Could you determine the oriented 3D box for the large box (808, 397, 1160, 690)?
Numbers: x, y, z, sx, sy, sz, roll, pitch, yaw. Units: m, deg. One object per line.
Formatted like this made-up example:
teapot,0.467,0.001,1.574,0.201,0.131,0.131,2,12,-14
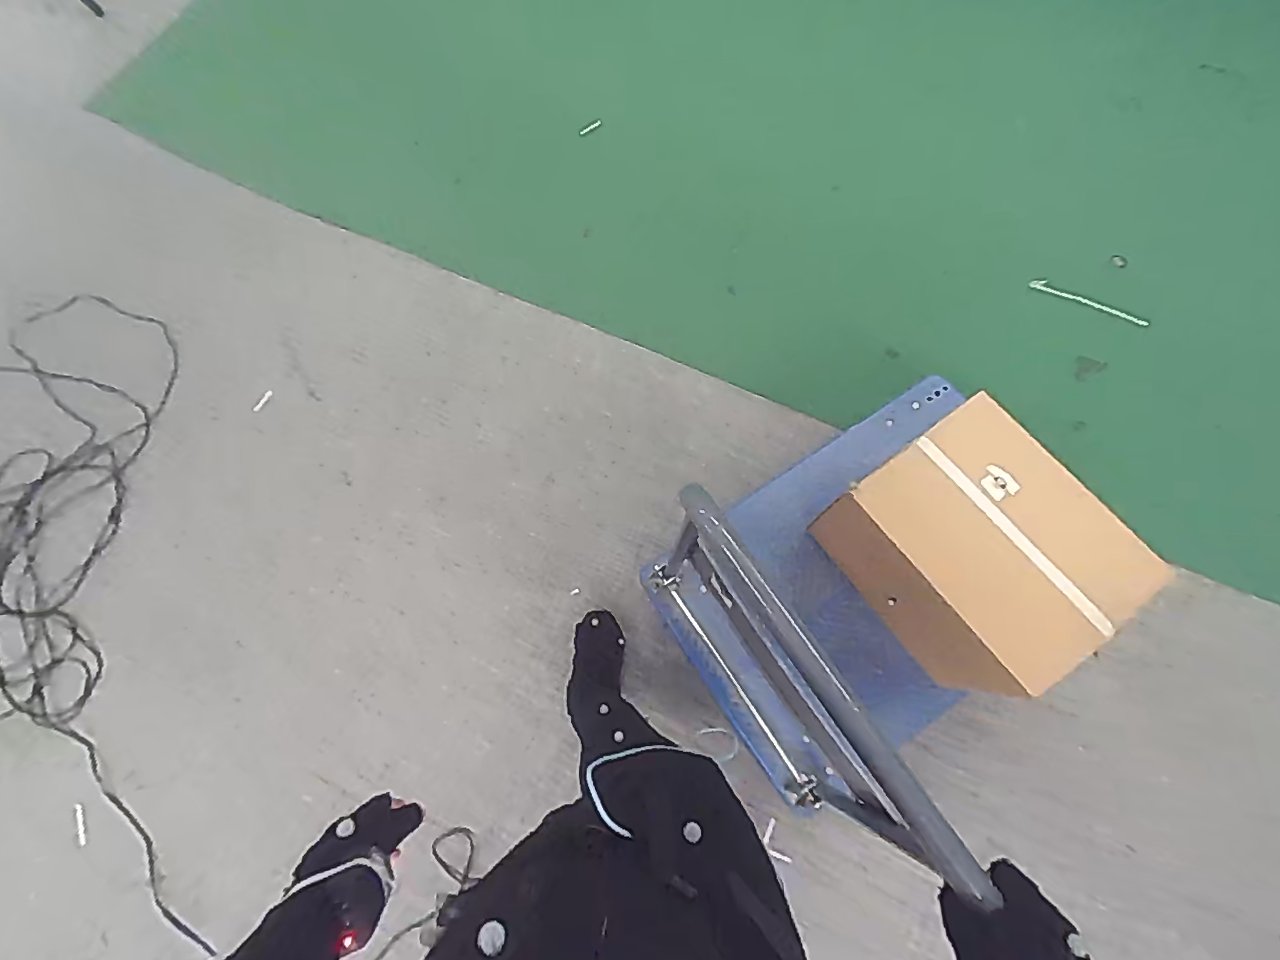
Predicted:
large box,0.598,0.131,1.032,0.320,0.320,0.408,-35,73,-8
